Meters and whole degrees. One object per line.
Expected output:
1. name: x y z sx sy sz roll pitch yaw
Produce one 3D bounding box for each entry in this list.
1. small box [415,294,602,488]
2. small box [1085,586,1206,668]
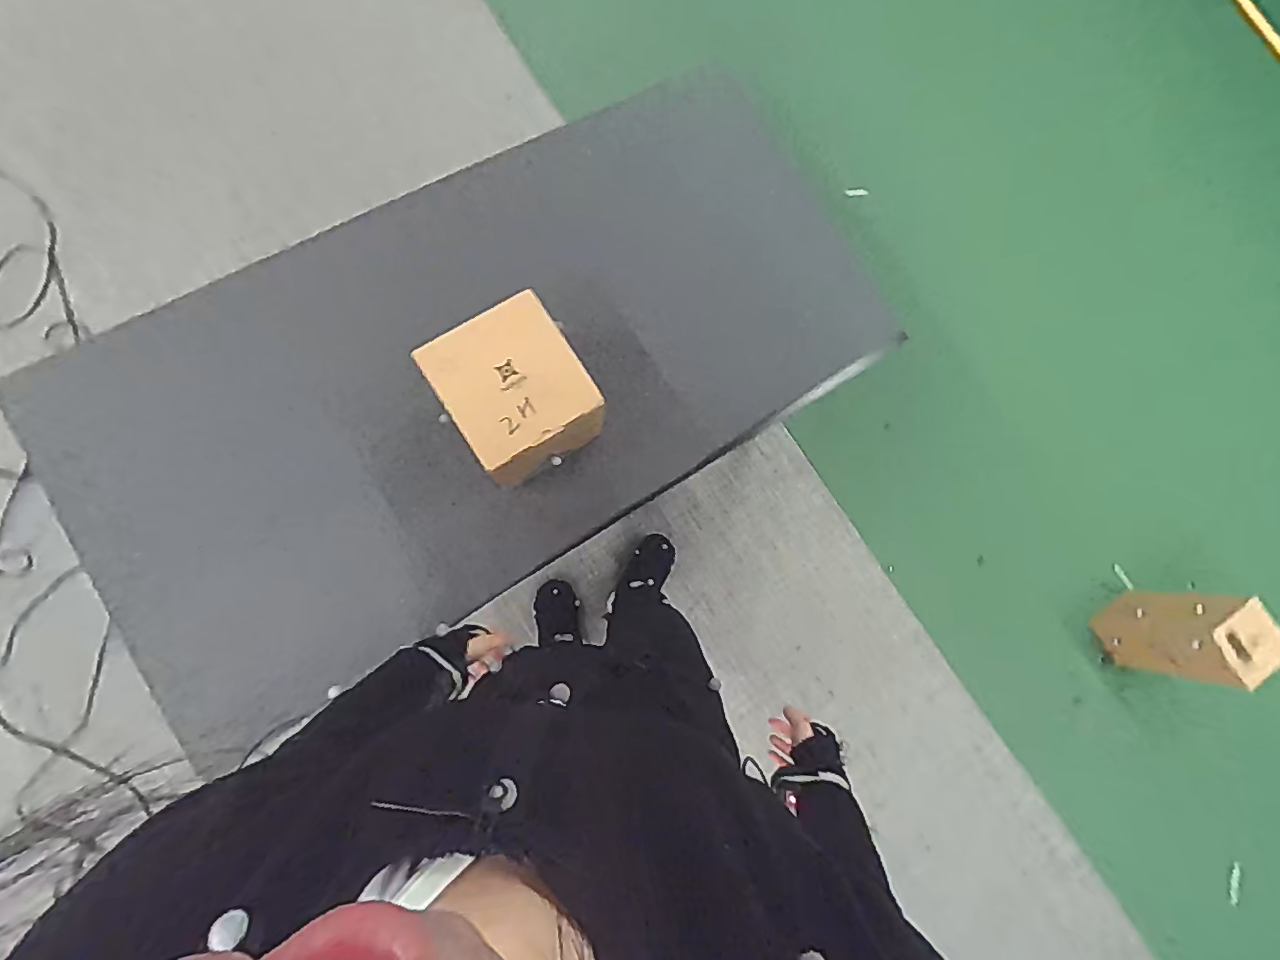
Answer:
1. small box: -0.169 -0.108 0.735 0.168 0.176 0.179 -33 86 -10
2. small box: 1.499 0.430 1.615 0.179 0.176 0.168 -31 87 -11
